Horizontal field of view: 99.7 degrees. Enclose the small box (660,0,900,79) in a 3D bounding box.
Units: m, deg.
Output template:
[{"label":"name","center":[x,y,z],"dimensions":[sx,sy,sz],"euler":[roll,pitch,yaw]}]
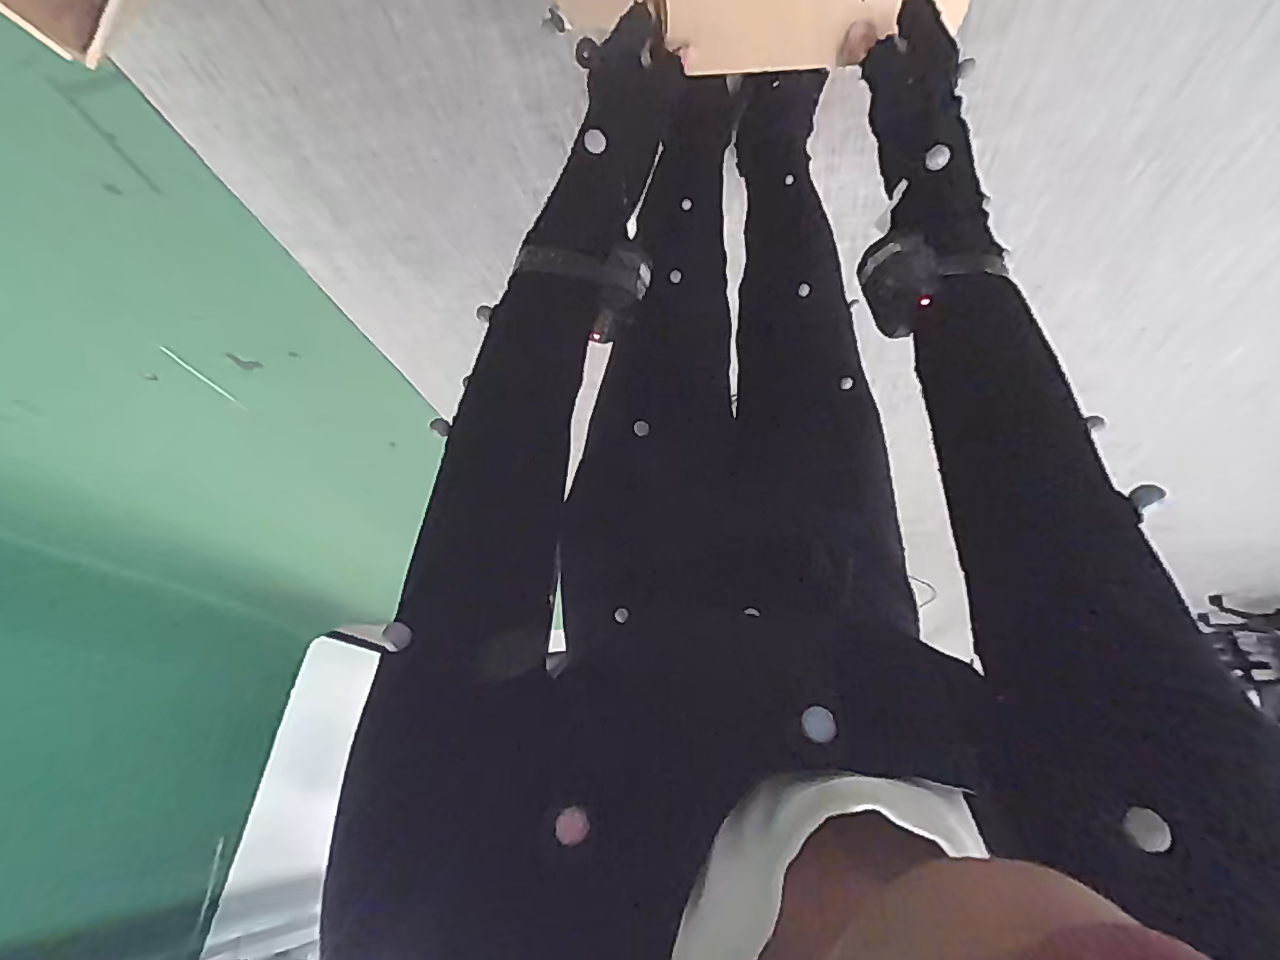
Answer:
[{"label":"small box","center":[0.106,-0.436,0.402],"dimensions":[0.179,0.176,0.168],"euler":[2,153,6]}]
